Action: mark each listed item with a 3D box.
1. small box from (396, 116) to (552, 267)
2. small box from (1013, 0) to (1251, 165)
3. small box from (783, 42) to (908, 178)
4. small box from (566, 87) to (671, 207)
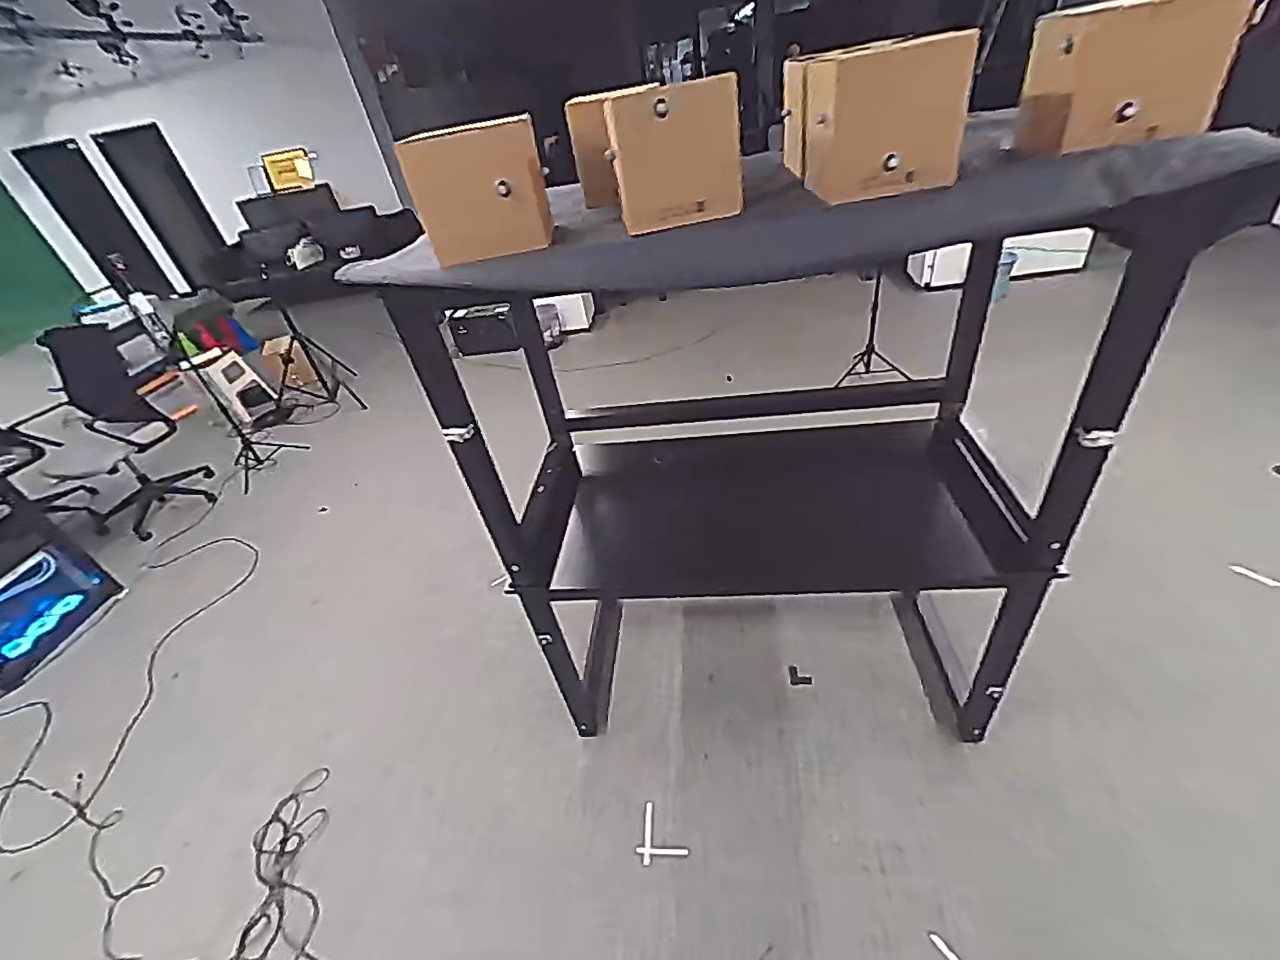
[{"bbox_3d":[-0.240,-0.447,0.839,0.179,0.176,0.168,-9,36,1],"label":"small box"},{"bbox_3d":[0.649,-0.547,0.745,0.168,0.176,0.179,-2,38,14],"label":"small box"},{"bbox_3d":[0.348,-0.639,0.944,0.168,0.176,0.179,-5,36,7],"label":"small box"},{"bbox_3d":[-0.033,-0.637,1.038,0.168,0.176,0.179,-6,38,7],"label":"small box"}]
